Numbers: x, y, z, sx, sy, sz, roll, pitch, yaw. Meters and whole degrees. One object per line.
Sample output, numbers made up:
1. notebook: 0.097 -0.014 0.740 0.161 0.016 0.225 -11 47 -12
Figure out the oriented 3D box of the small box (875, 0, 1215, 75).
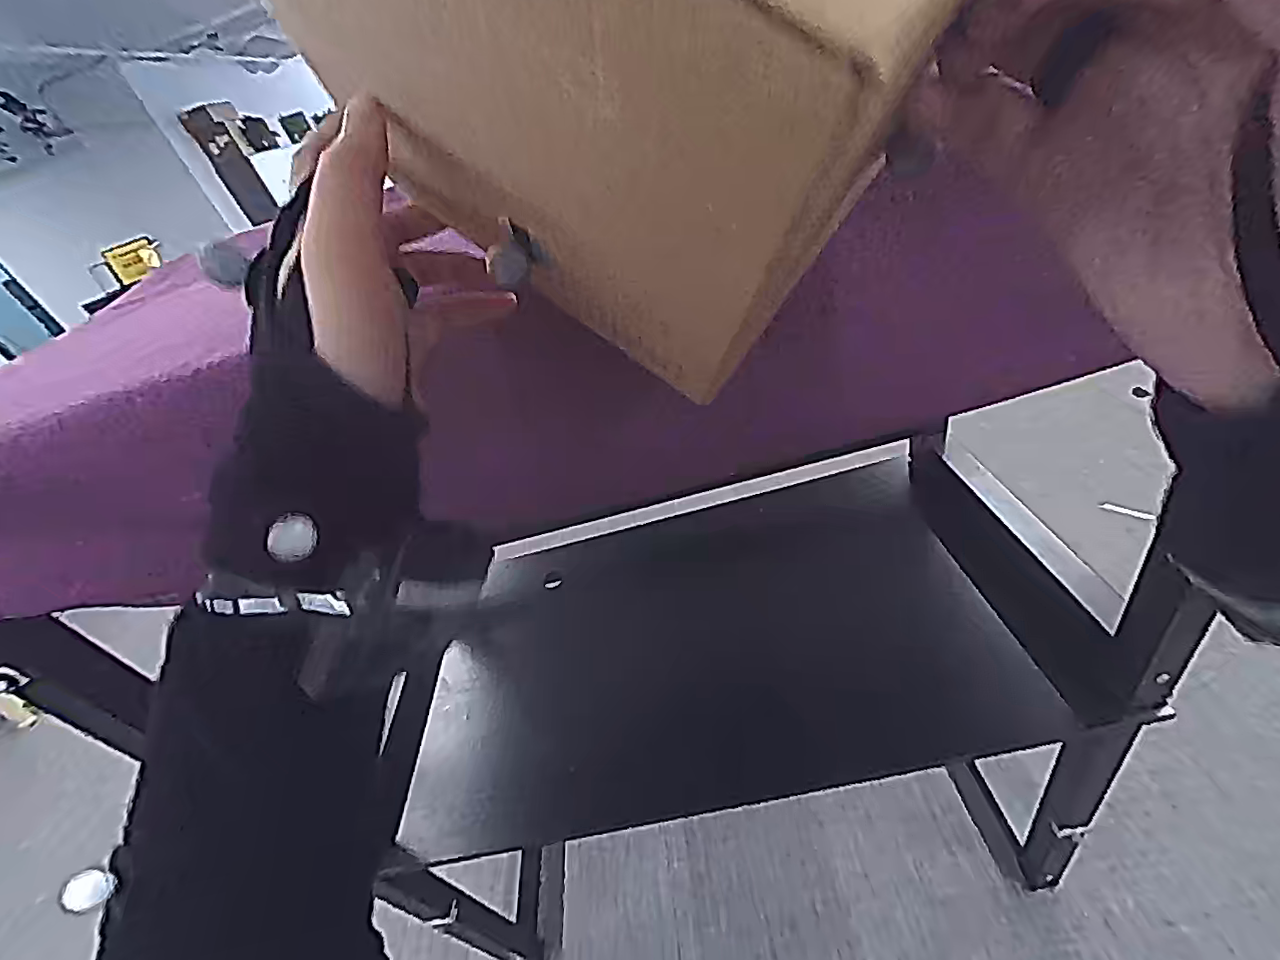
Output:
1. small box: 0.254 -0.369 0.325 0.168 0.176 0.179 -18 35 5
